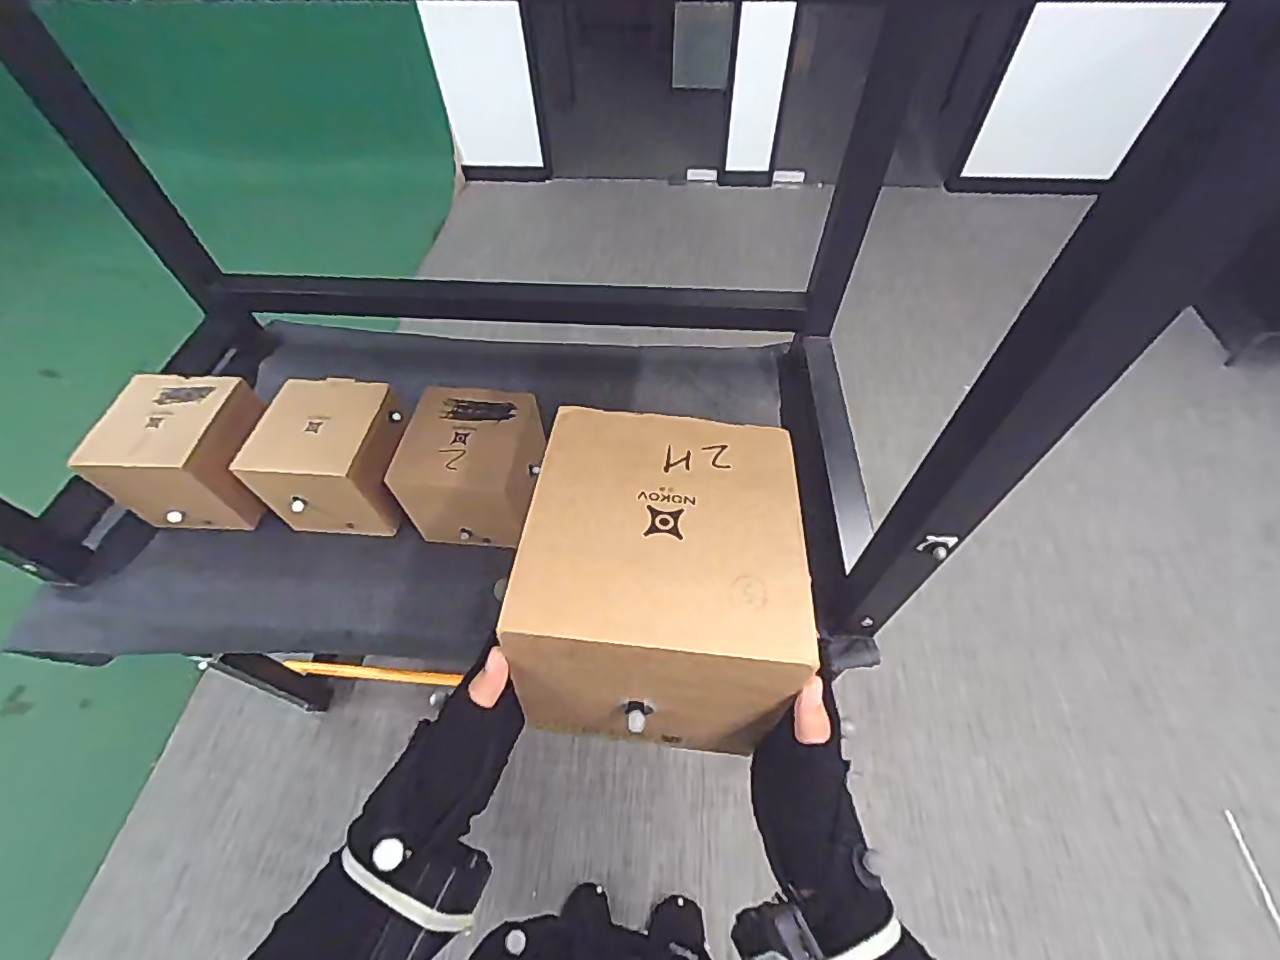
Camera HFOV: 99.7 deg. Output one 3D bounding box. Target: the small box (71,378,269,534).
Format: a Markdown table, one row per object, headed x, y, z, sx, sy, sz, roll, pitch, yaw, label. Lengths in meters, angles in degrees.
| x | y | z | sx | sy | sz | roll | pitch | yaw | label |
| --- | --- | --- | --- | --- | --- | --- | --- | --- | --- |
| -0.685 | -0.036 | 0.840 | 0.168 | 0.176 | 0.179 | 1 | 54 | 2 | small box |

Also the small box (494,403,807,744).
| x | y | z | sx | sy | sz | roll | pitch | yaw | label |
| --- | --- | --- | --- | --- | --- | --- | --- | --- | --- |
| 0.010 | 0.071 | 0.390 | 0.168 | 0.176 | 0.179 | 7 | 48 | 1 | small box |

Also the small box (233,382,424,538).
| x | y | z | sx | sy | sz | roll | pitch | yaw | label |
| --- | --- | --- | --- | --- | --- | --- | --- | --- | --- |
| -0.458 | -0.027 | 0.833 | 0.168 | 0.176 | 0.179 | 4 | 53 | 3 | small box |
